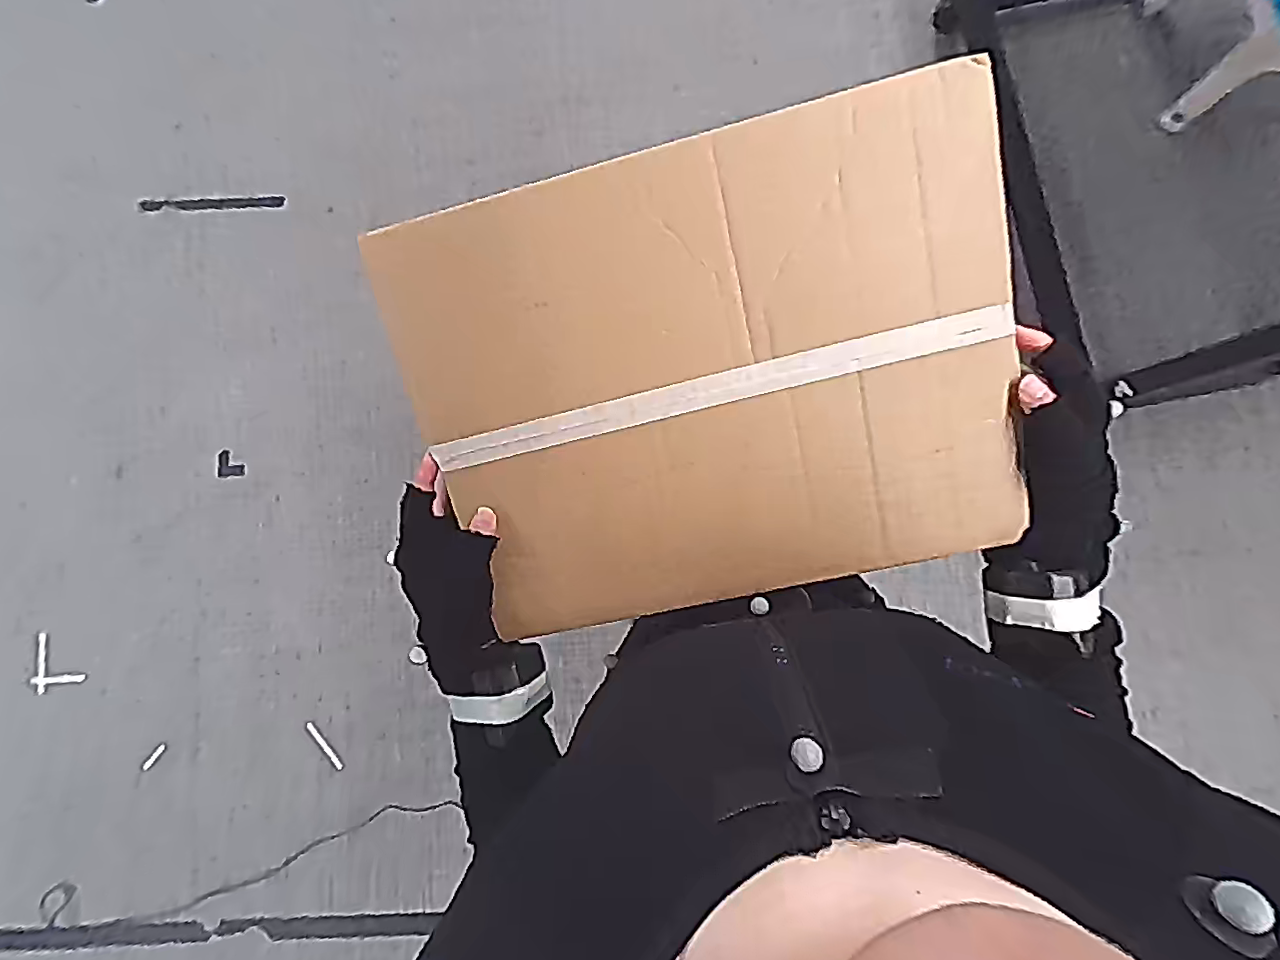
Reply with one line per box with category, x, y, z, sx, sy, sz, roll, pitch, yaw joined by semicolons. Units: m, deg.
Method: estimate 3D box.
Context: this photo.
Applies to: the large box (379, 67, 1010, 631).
large box;0.051;-0.100;0.530;0.408;0.320;0.320;-13;104;6
